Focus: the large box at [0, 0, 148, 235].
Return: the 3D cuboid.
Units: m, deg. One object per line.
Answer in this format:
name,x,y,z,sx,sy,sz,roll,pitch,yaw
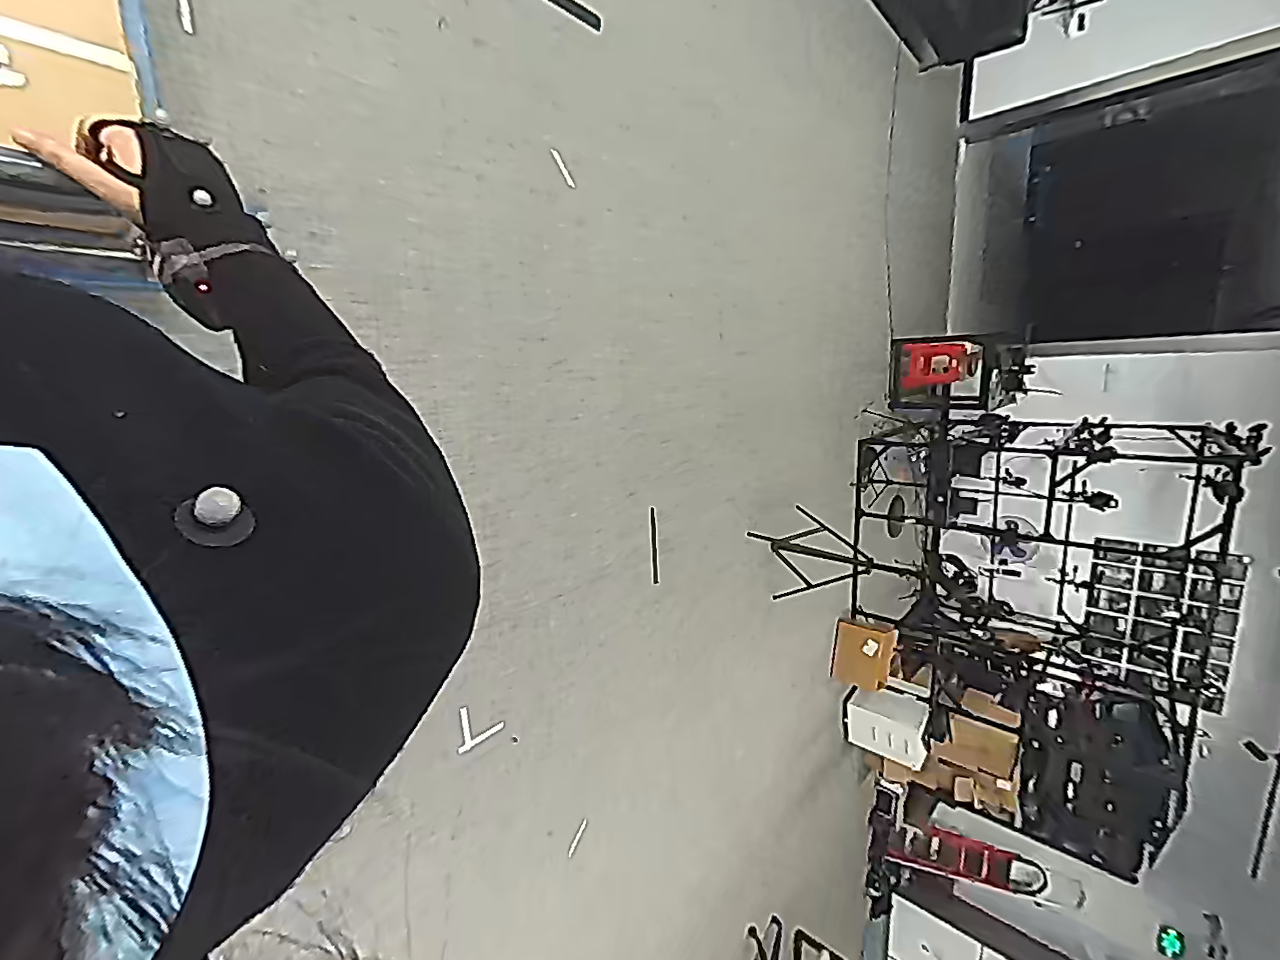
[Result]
large box,-0.939,-0.529,0.679,0.408,0.320,0.320,-14,107,-49
